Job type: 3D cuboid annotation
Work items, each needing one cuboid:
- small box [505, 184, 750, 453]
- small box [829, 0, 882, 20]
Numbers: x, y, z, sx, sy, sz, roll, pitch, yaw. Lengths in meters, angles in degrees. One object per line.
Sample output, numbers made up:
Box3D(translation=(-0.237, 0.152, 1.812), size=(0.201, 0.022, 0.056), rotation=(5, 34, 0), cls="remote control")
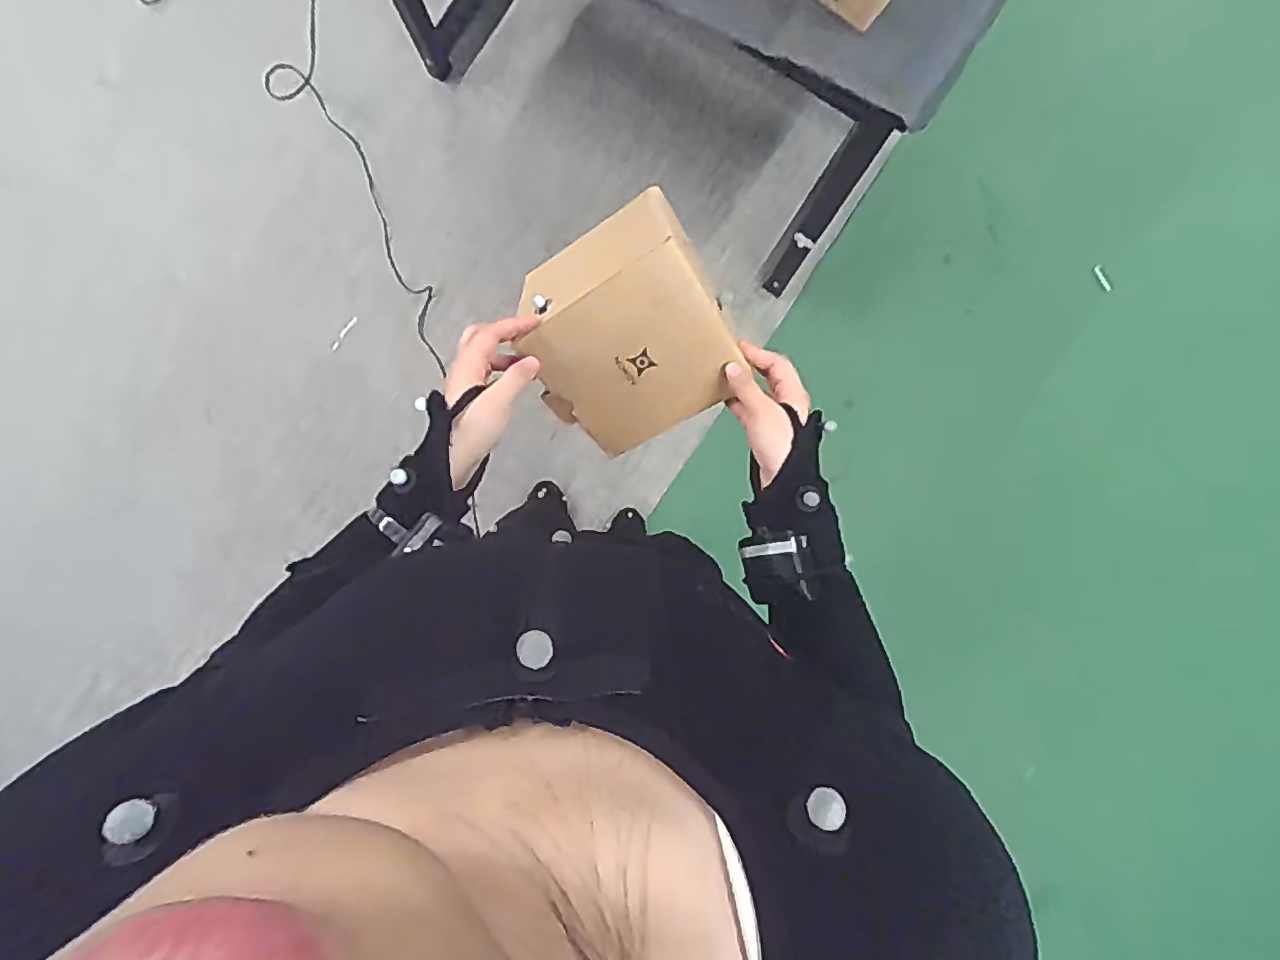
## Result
Box3D(translation=(-0.013, -0.167, 0.557), size=(0.179, 0.176, 0.168), rotation=(-27, 128, 20), cls="small box")
Box3D(translation=(0.306, -0.766, 0.692), size=(0.168, 0.176, 0.179), rotation=(39, 87, 2), cls="small box")
